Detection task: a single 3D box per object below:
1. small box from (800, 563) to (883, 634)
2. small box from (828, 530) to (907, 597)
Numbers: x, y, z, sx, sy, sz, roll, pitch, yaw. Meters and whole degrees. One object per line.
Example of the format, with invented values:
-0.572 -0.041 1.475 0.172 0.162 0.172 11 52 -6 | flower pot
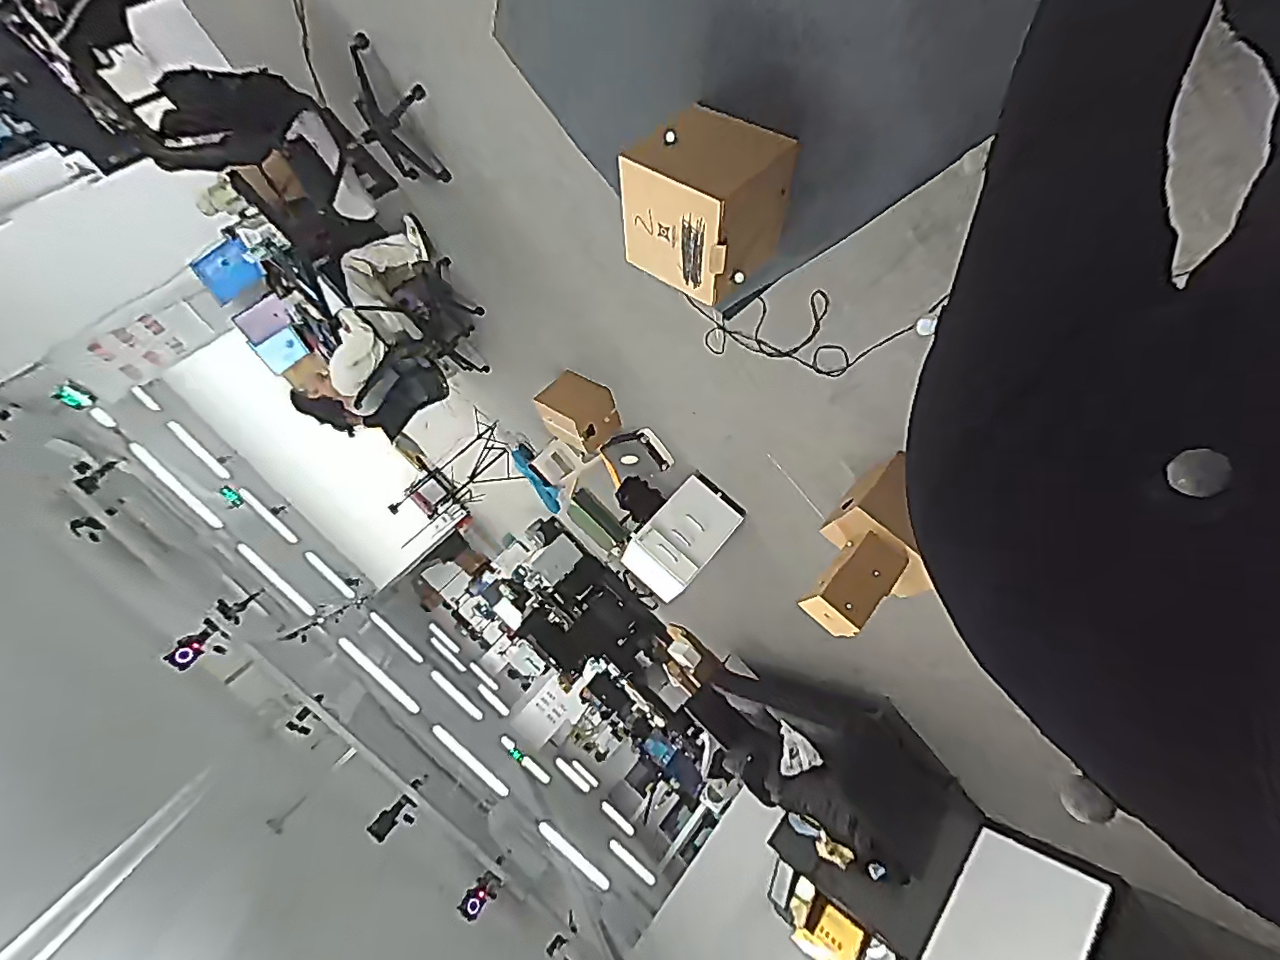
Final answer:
0.702 0.408 1.887 0.179 0.176 0.168 41 157 7 | small box
0.818 0.310 1.947 0.179 0.176 0.168 42 157 8 | small box
